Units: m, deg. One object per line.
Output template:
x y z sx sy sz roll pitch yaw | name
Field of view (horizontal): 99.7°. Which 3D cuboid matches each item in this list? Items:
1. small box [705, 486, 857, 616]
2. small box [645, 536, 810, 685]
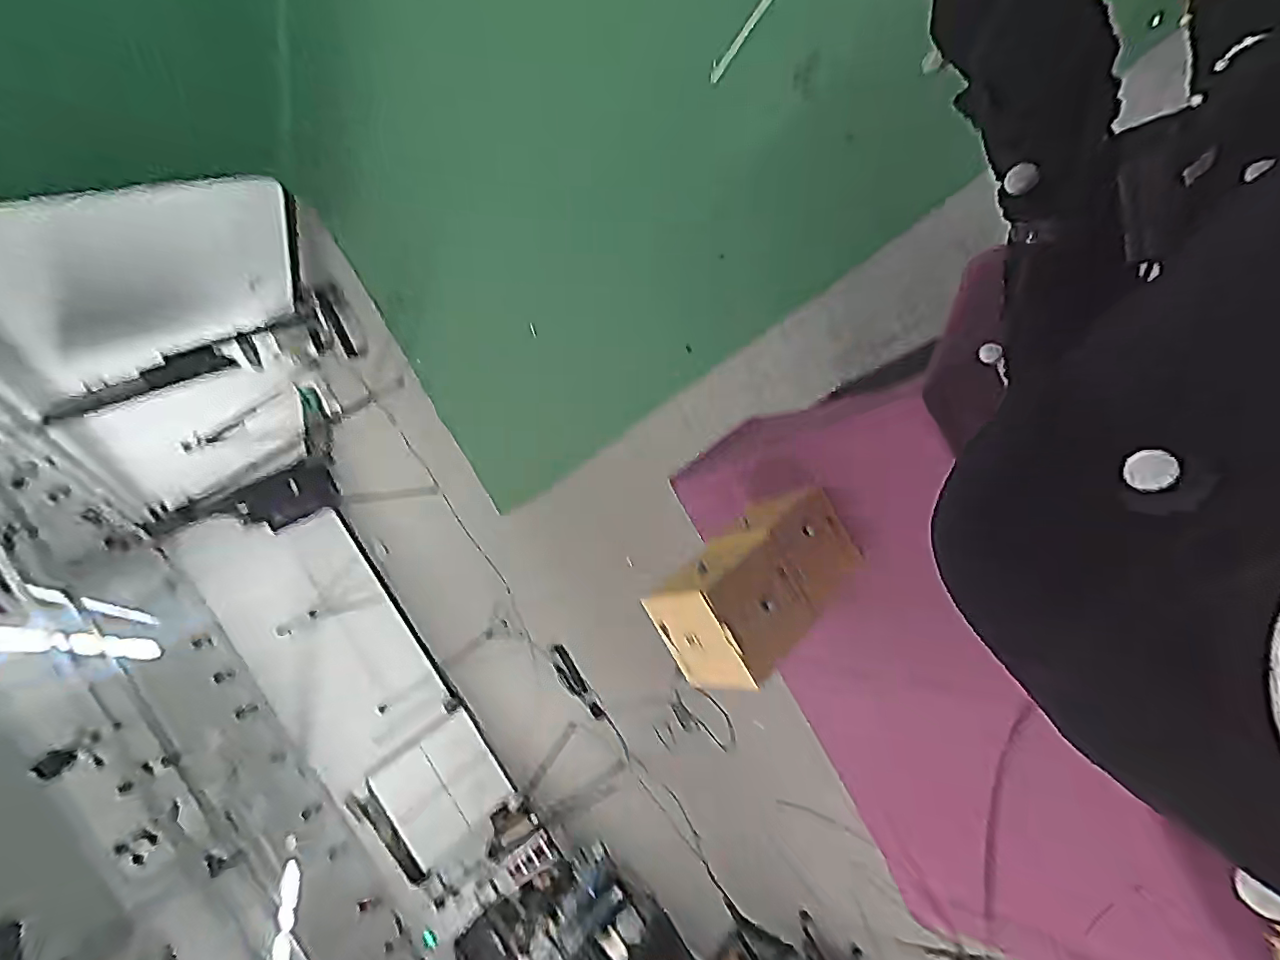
0.257 0.128 0.965 0.179 0.176 0.168 -26 95 56 | small box
0.147 0.206 0.872 0.179 0.176 0.168 -26 94 55 | small box
